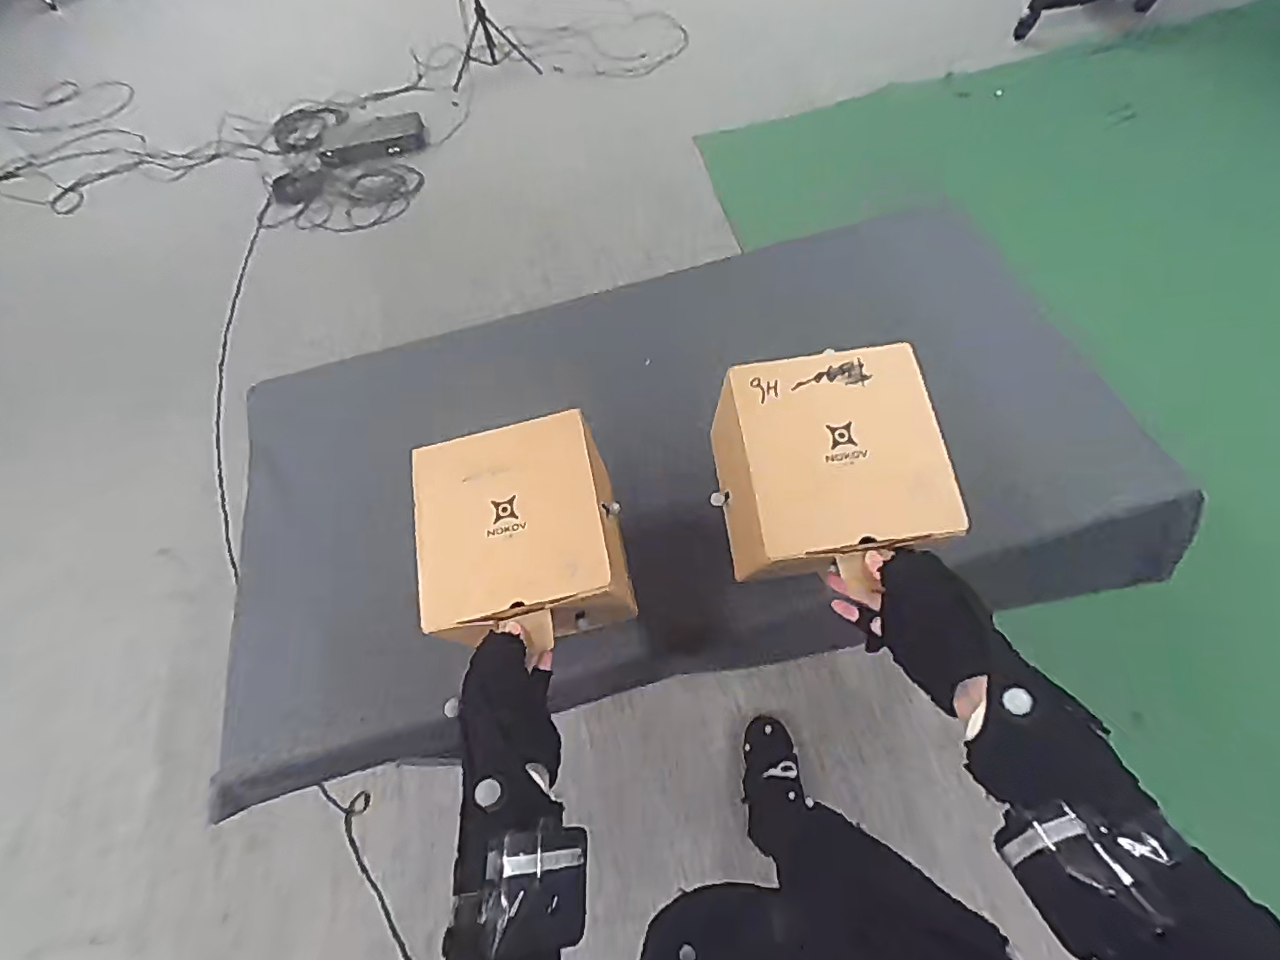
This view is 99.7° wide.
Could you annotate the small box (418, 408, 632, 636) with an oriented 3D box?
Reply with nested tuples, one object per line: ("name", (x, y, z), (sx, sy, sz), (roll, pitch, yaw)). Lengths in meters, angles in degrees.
("small box", (-0.110, 0.056, 0.560), (0.168, 0.176, 0.179), (-14, 66, 0))
